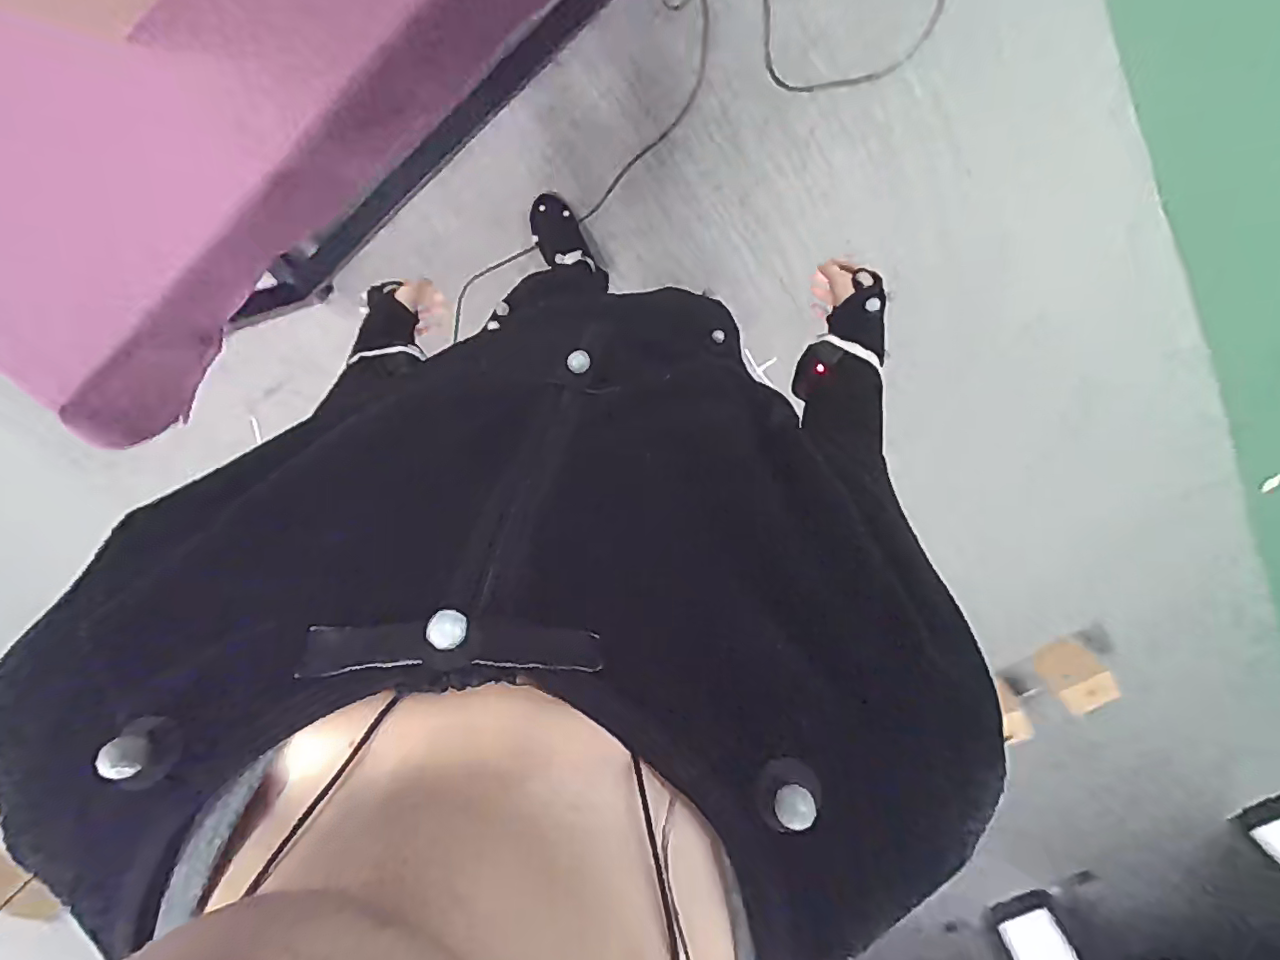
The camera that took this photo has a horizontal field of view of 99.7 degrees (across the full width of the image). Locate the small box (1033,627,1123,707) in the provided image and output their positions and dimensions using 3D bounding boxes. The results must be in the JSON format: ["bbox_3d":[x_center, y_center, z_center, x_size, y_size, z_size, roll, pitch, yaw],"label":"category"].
[{"bbox_3d":[1.551,0.664,1.931,0.179,0.176,0.168,-37,113,15],"label":"small box"}]

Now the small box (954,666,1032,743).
[{"bbox_3d":[1.309,0.832,2.011,0.168,0.176,0.179,-27,114,11],"label":"small box"}]
